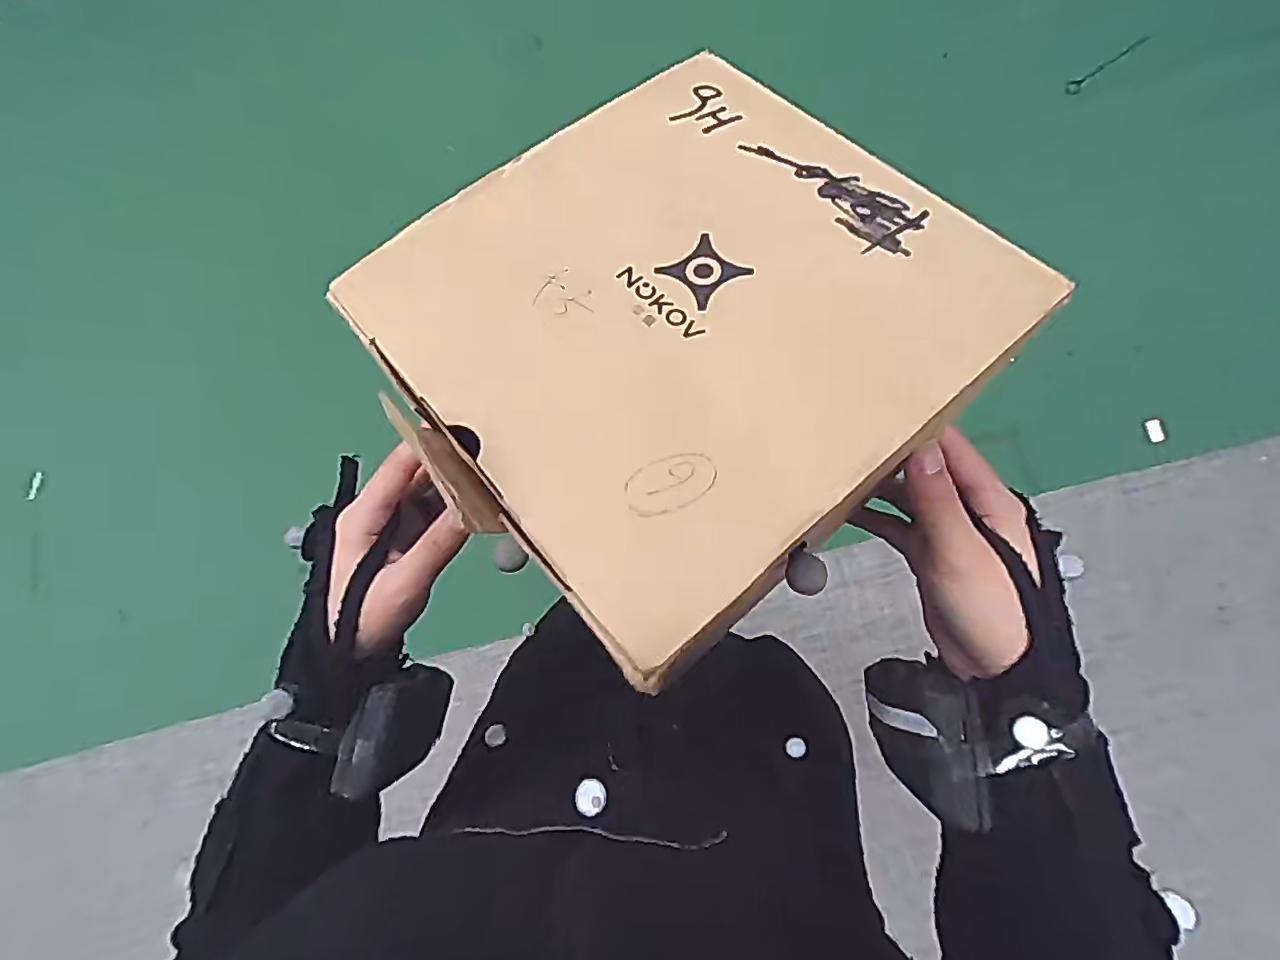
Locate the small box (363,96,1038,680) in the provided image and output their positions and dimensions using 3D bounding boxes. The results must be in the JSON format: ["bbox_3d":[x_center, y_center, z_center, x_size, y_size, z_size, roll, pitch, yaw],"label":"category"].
[{"bbox_3d":[0.020,-0.023,0.259,0.179,0.176,0.168,-39,71,-12],"label":"small box"}]
